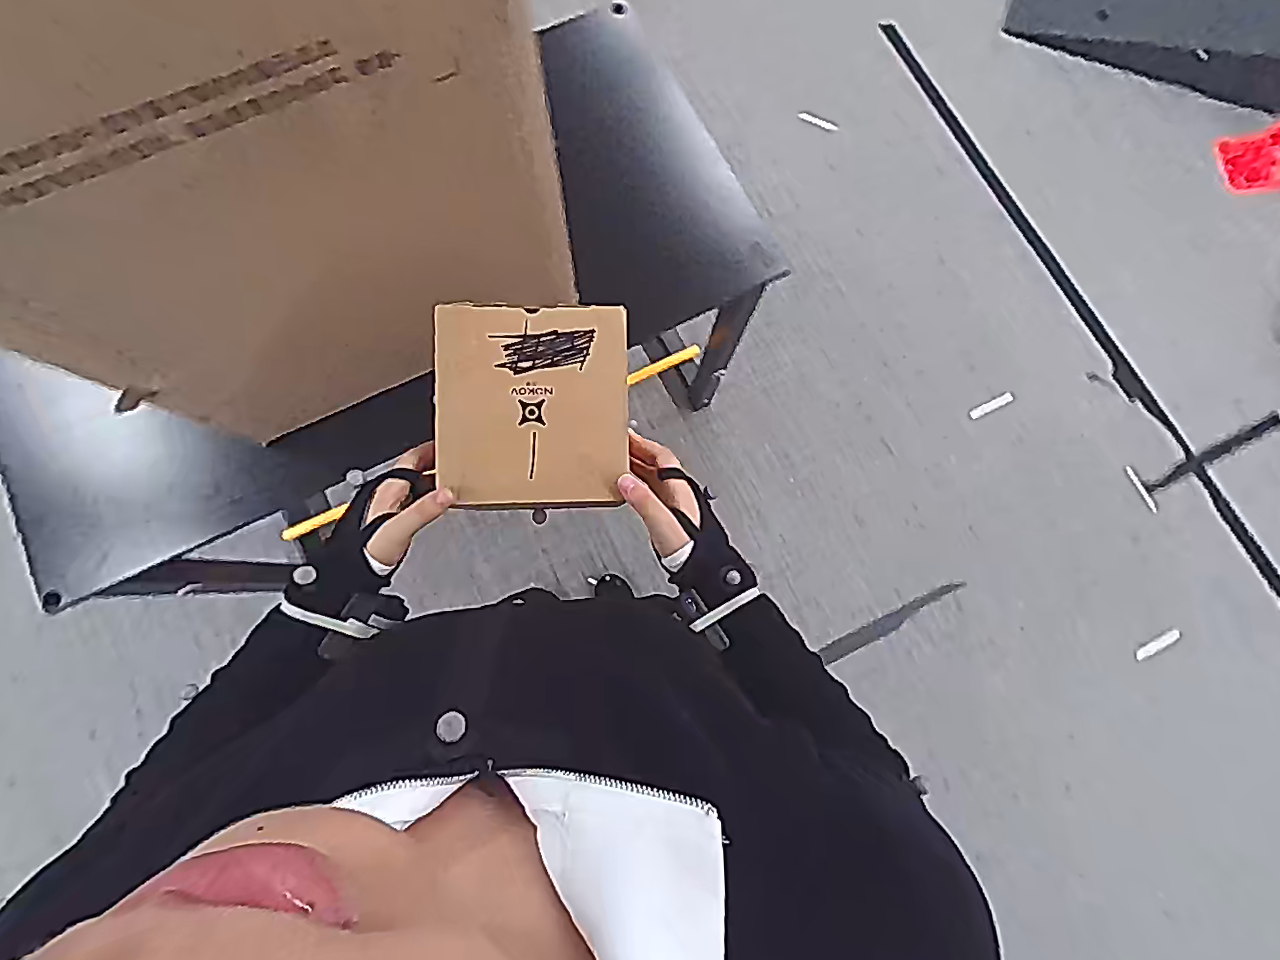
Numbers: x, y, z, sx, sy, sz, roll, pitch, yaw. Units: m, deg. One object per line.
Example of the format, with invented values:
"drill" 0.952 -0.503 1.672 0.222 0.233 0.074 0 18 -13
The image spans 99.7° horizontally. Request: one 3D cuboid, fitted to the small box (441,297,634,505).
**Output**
"small box" -0.095 -0.066 0.550 0.168 0.176 0.179 0 86 -5
